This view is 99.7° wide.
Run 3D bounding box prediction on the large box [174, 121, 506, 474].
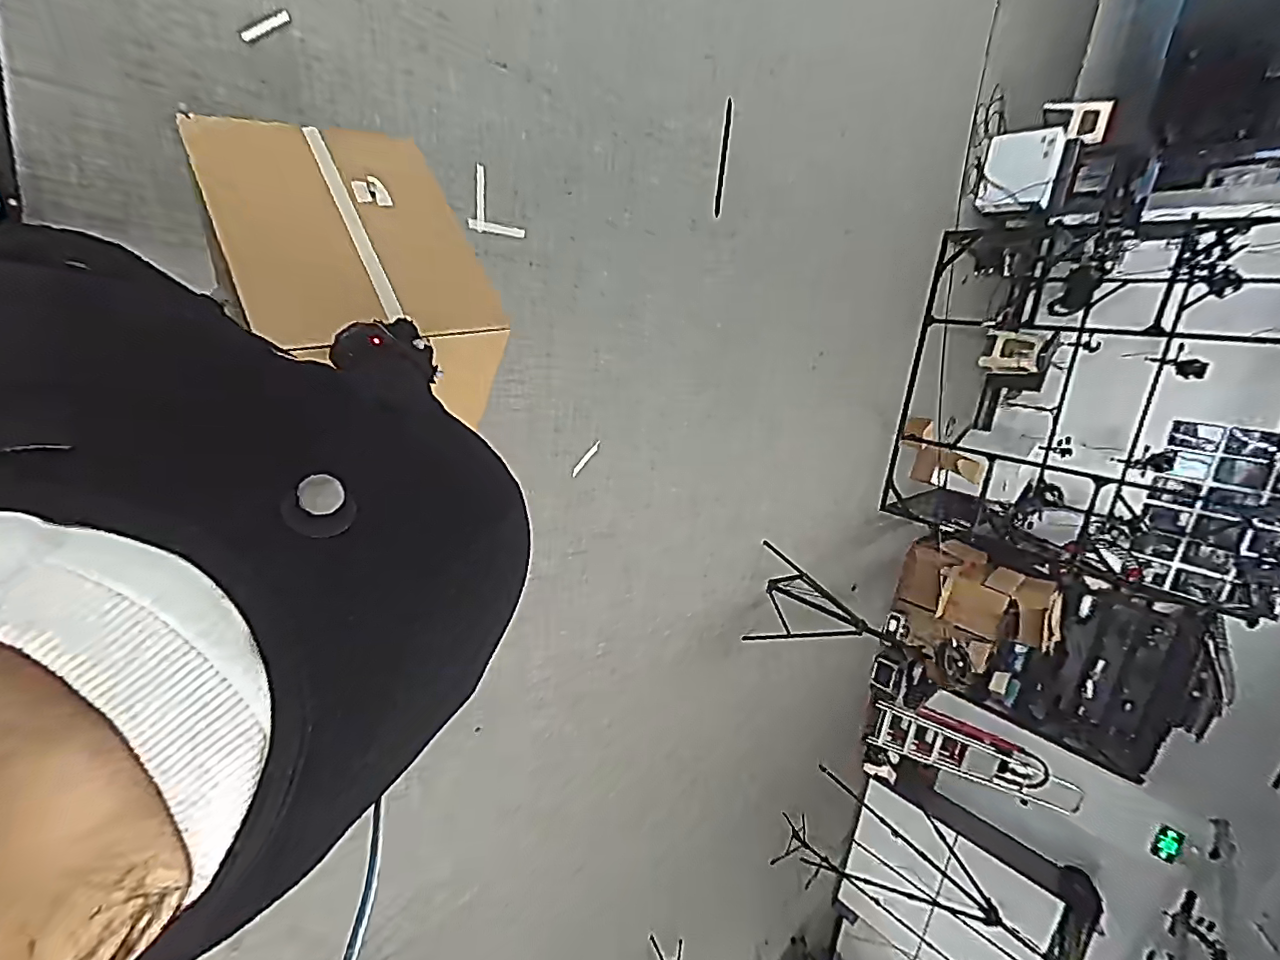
[{"bbox_3d":[-0.471,-0.280,0.871,0.320,0.408,0.320,-18,161,-38],"label":"large box"}]
